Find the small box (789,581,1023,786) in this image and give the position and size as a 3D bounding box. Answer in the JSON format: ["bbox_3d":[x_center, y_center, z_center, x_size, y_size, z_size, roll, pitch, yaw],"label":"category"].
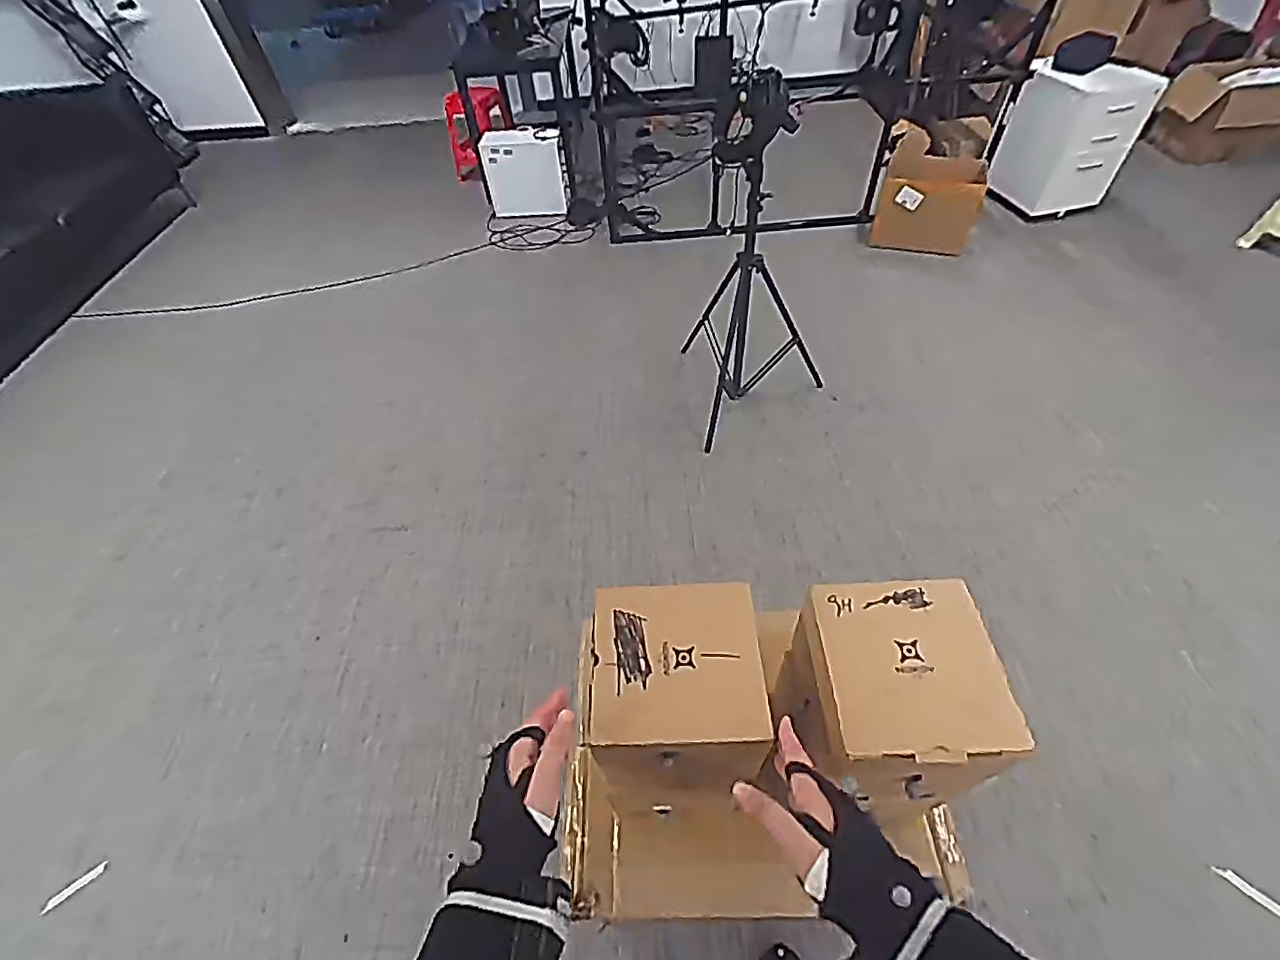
[{"bbox_3d":[0.269,0.230,0.598,0.168,0.176,0.179,-2,51,3],"label":"small box"}]

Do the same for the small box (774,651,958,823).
[{"bbox_3d":[0.280,0.340,0.721,0.168,0.176,0.179,-5,50,3],"label":"small box"}]

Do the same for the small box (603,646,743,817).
[{"bbox_3d":[0.041,0.346,0.740,0.168,0.176,0.179,-4,51,2],"label":"small box"}]
